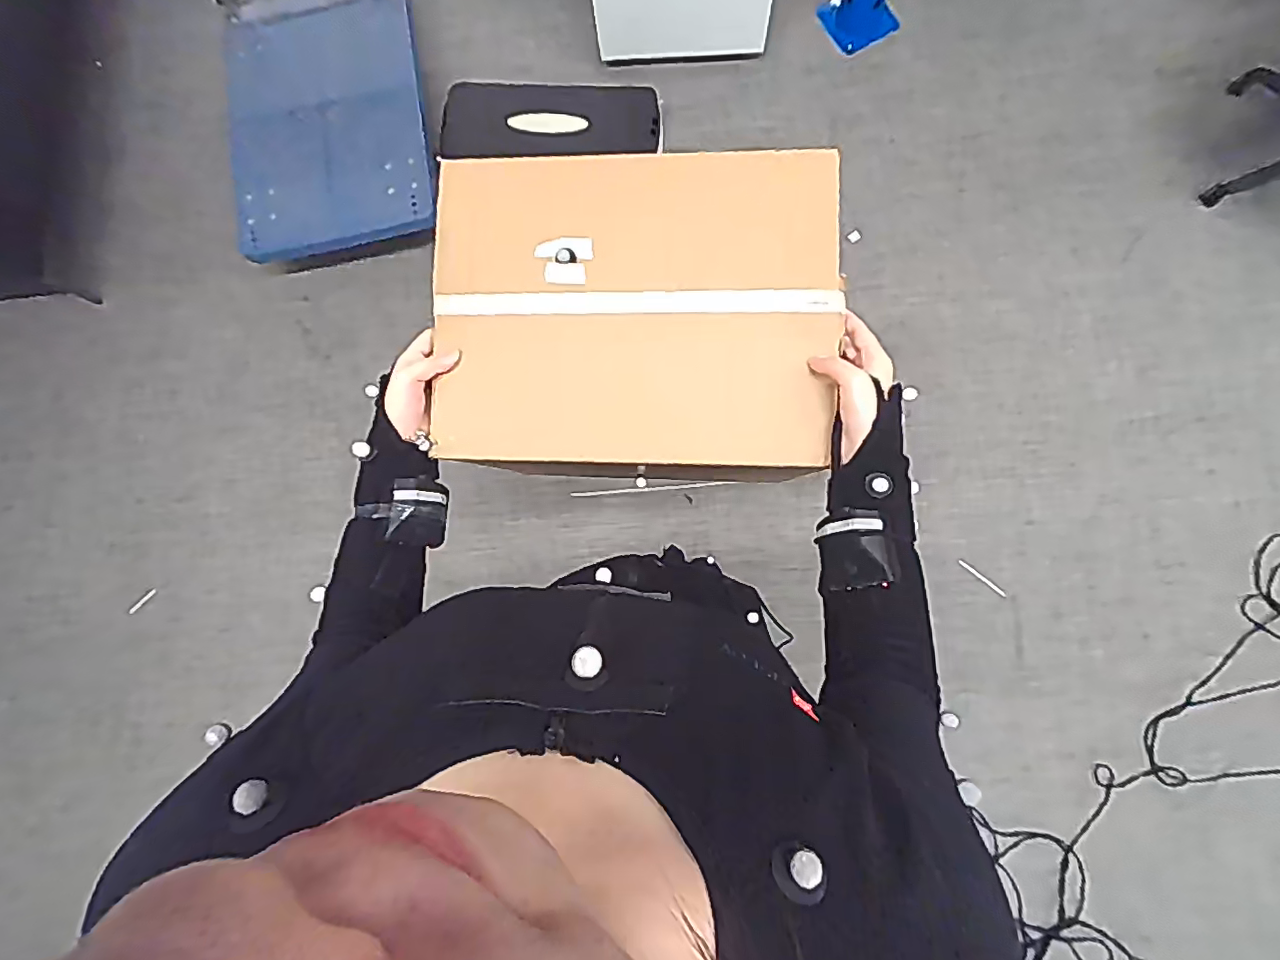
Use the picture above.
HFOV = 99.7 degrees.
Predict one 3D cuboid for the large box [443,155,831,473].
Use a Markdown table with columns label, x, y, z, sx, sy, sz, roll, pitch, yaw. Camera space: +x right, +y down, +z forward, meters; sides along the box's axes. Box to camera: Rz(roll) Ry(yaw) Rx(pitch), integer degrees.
| label | x | y | z | sx | sy | sz | roll | pitch | yaw |
| --- | --- | --- | --- | --- | --- | --- | --- | --- | --- |
| large box | 0.008 | -0.167 | 0.701 | 0.408 | 0.320 | 0.320 | 1 | 87 | 7 |
